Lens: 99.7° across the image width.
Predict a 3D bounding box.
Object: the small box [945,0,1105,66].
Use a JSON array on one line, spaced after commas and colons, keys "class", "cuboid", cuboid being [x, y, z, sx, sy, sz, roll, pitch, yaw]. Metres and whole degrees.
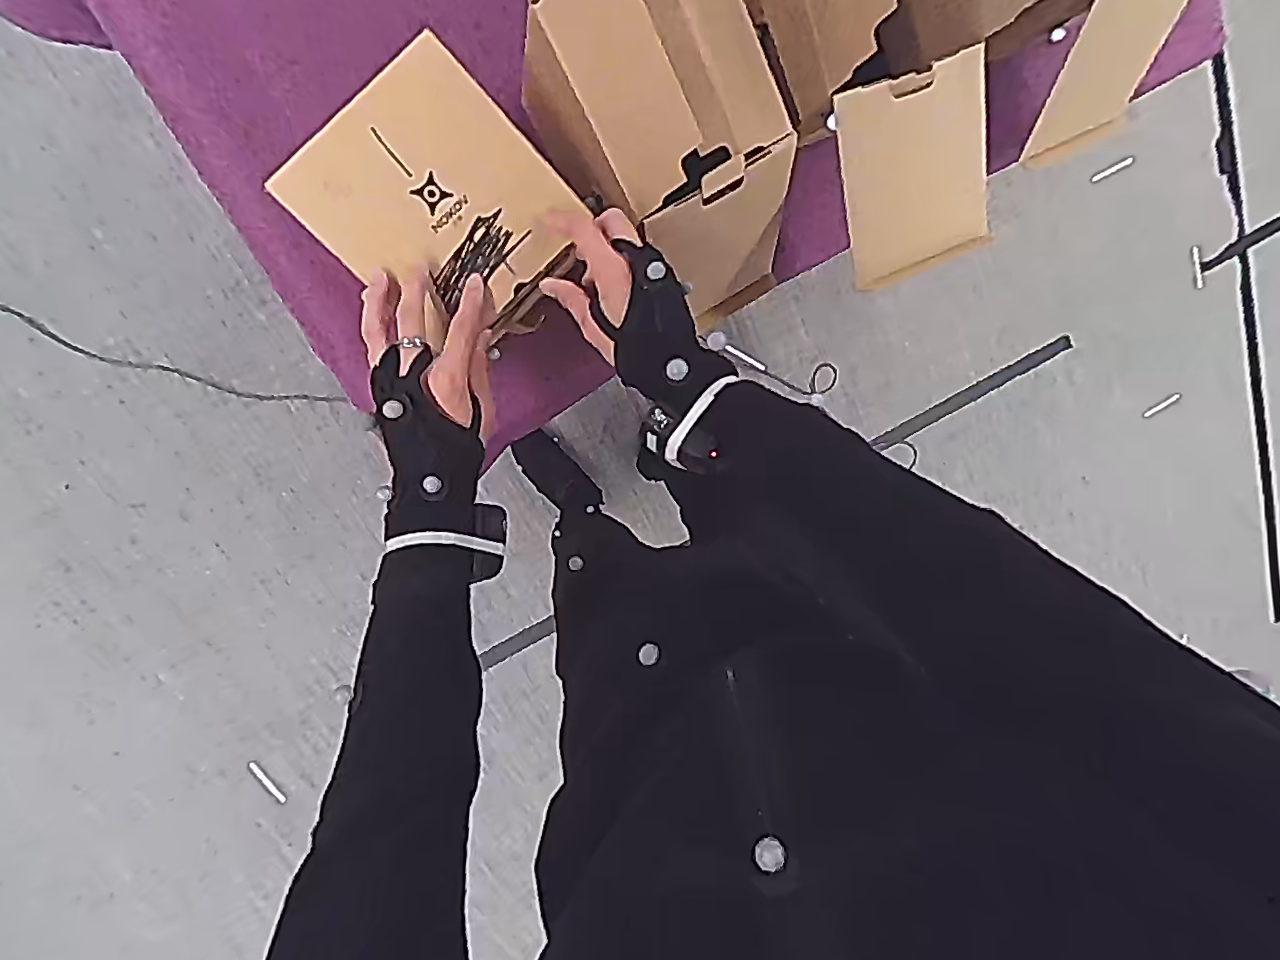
[{"class": "small box", "cuboid": [0.441, -0.590, 0.563, 0.168, 0.176, 0.179, -27, 106, -7]}]
